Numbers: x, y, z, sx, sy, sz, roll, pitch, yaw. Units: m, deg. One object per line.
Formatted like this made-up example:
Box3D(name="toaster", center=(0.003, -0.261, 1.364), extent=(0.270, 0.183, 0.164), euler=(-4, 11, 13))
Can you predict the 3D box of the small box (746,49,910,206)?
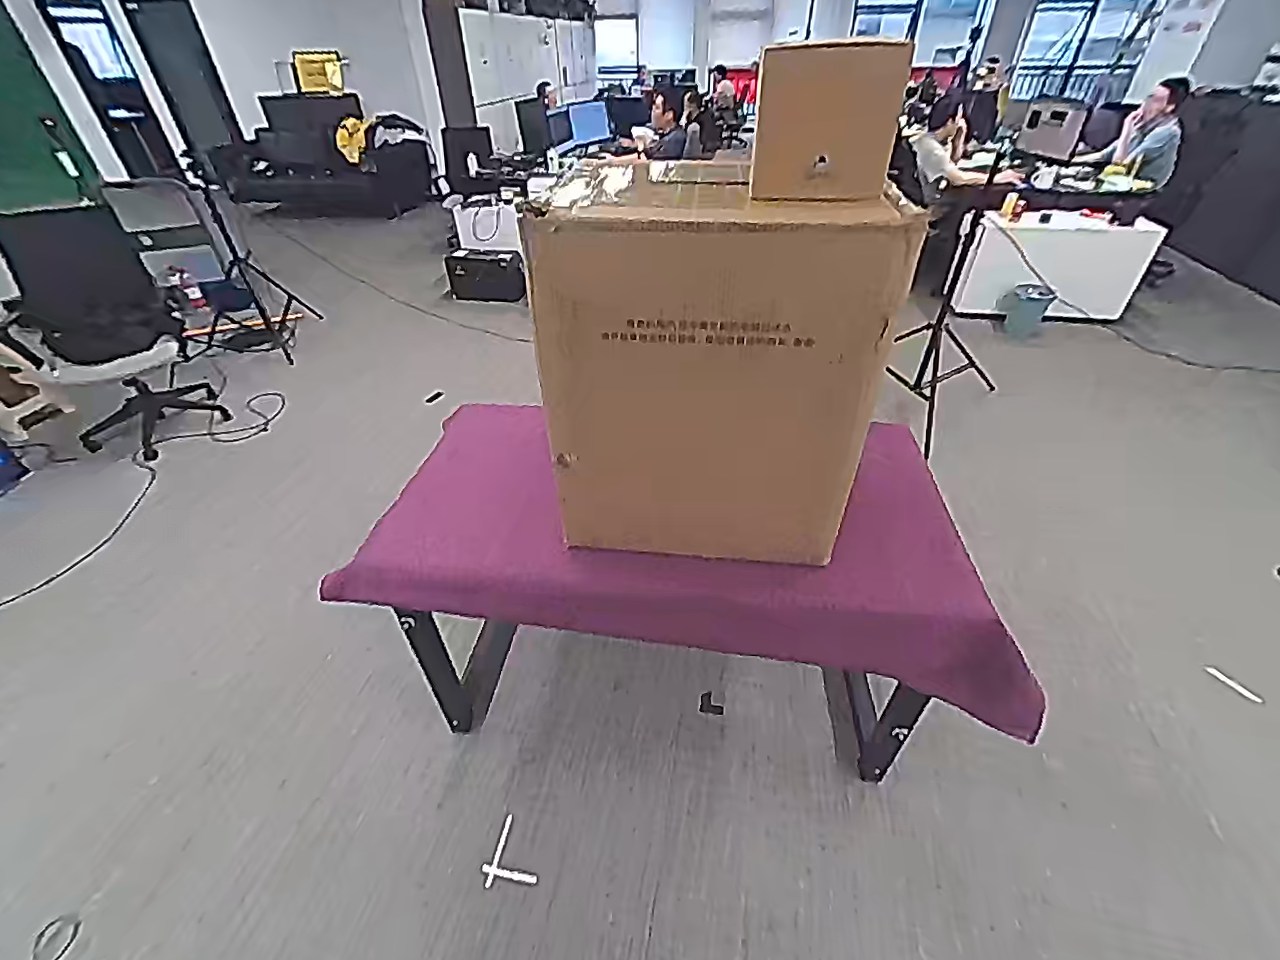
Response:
Box3D(name="small box", center=(0.247, -0.492, 0.757), extent=(0.179, 0.176, 0.168), euler=(4, 39, 8))
